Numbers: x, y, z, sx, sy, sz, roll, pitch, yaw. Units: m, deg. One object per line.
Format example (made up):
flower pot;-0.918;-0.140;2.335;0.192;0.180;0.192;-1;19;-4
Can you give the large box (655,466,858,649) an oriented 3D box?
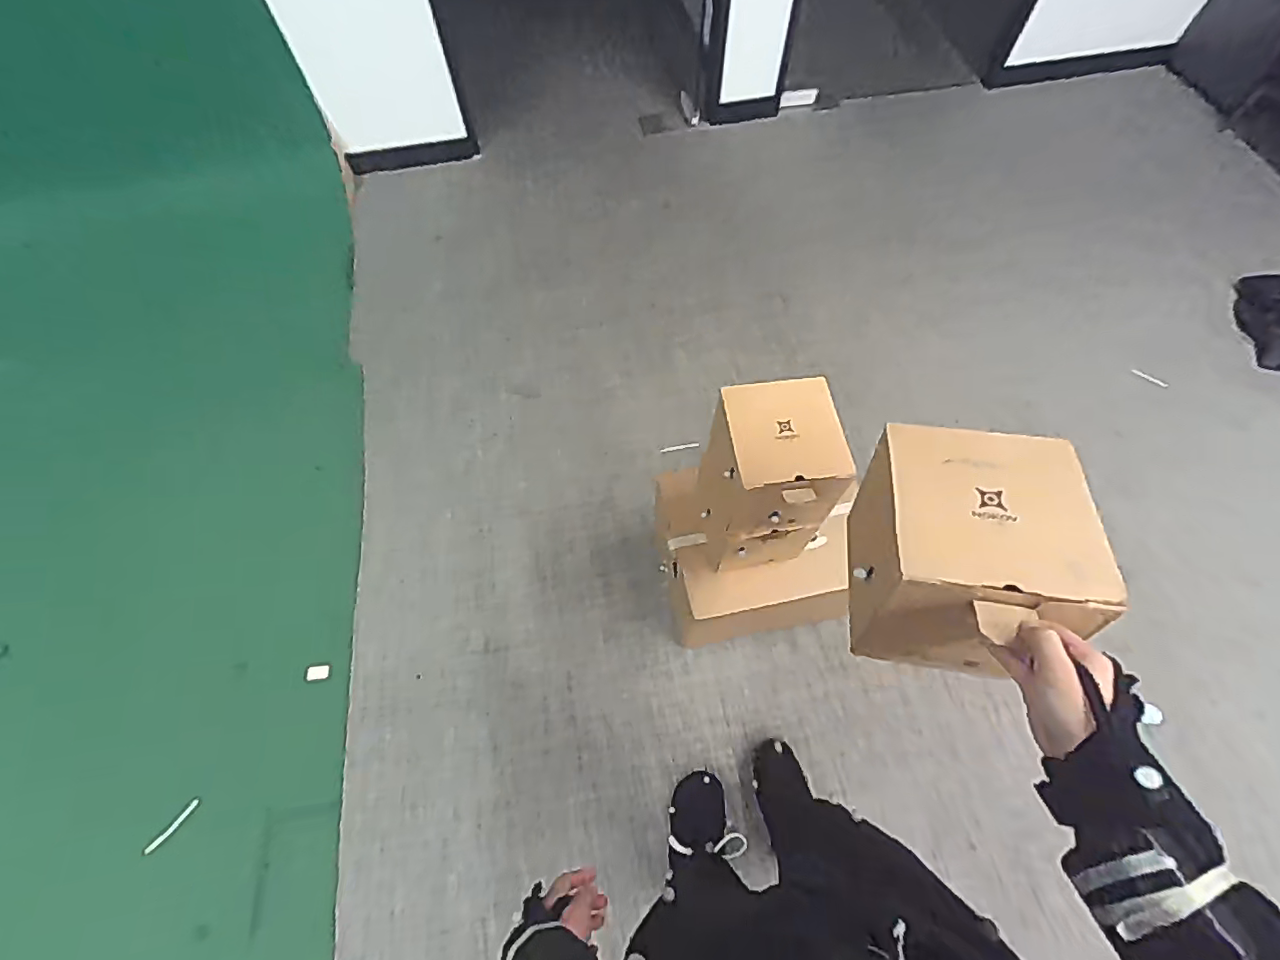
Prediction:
large box;0.264;0.158;1.210;0.408;0.320;0.320;-10;64;-6

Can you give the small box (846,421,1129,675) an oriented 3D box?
small box;0.305;0.069;0.524;0.168;0.176;0.179;7;51;10

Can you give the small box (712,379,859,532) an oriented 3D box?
small box;0.214;-0.034;0.852;0.168;0.176;0.179;-6;63;-3
